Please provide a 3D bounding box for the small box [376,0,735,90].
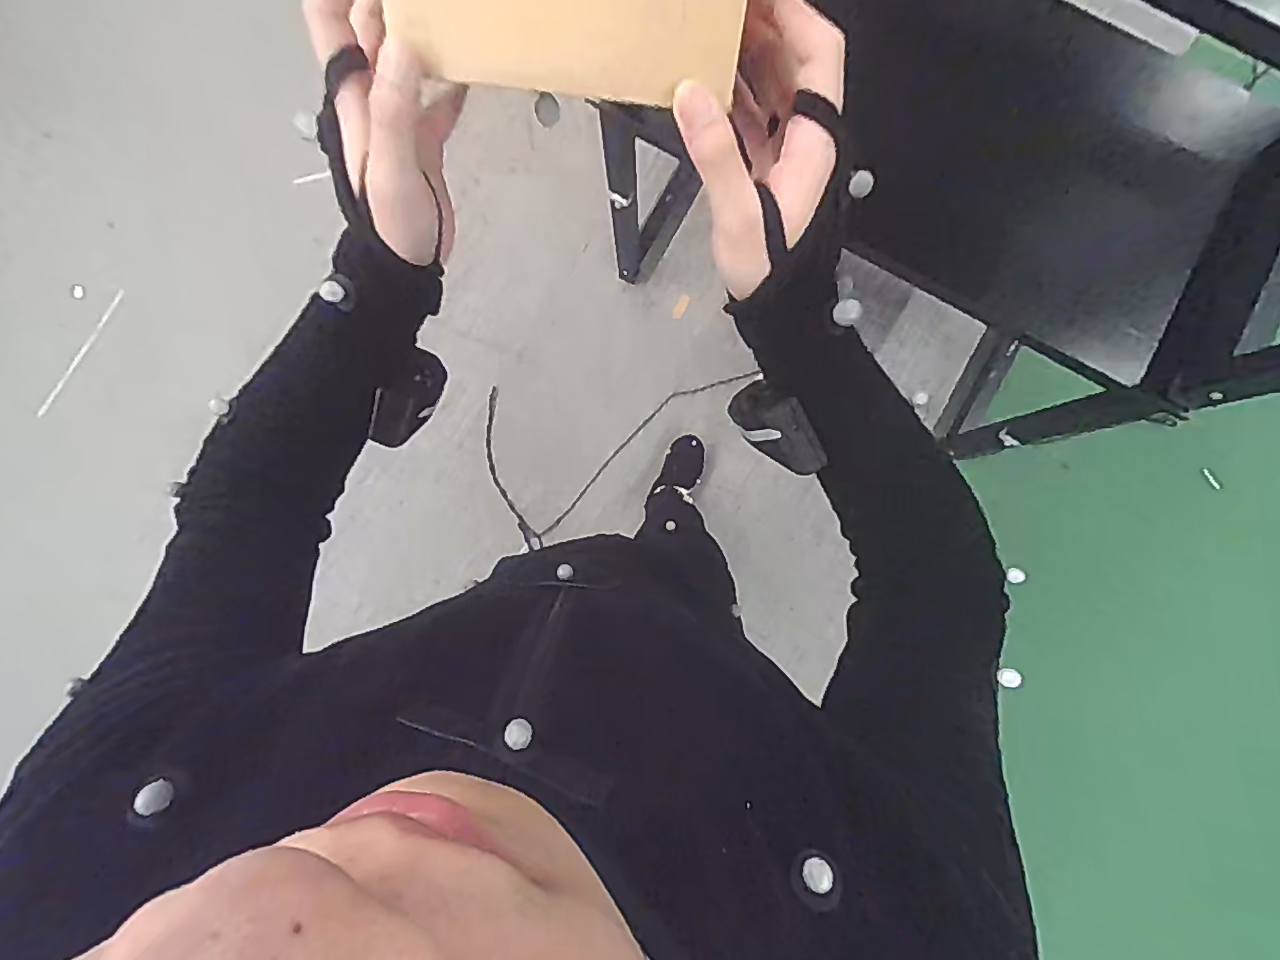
[{"bbox_3d":[-0.025,-0.309,0.269,0.168,0.176,0.179,7,124,1],"label":"small box"}]
